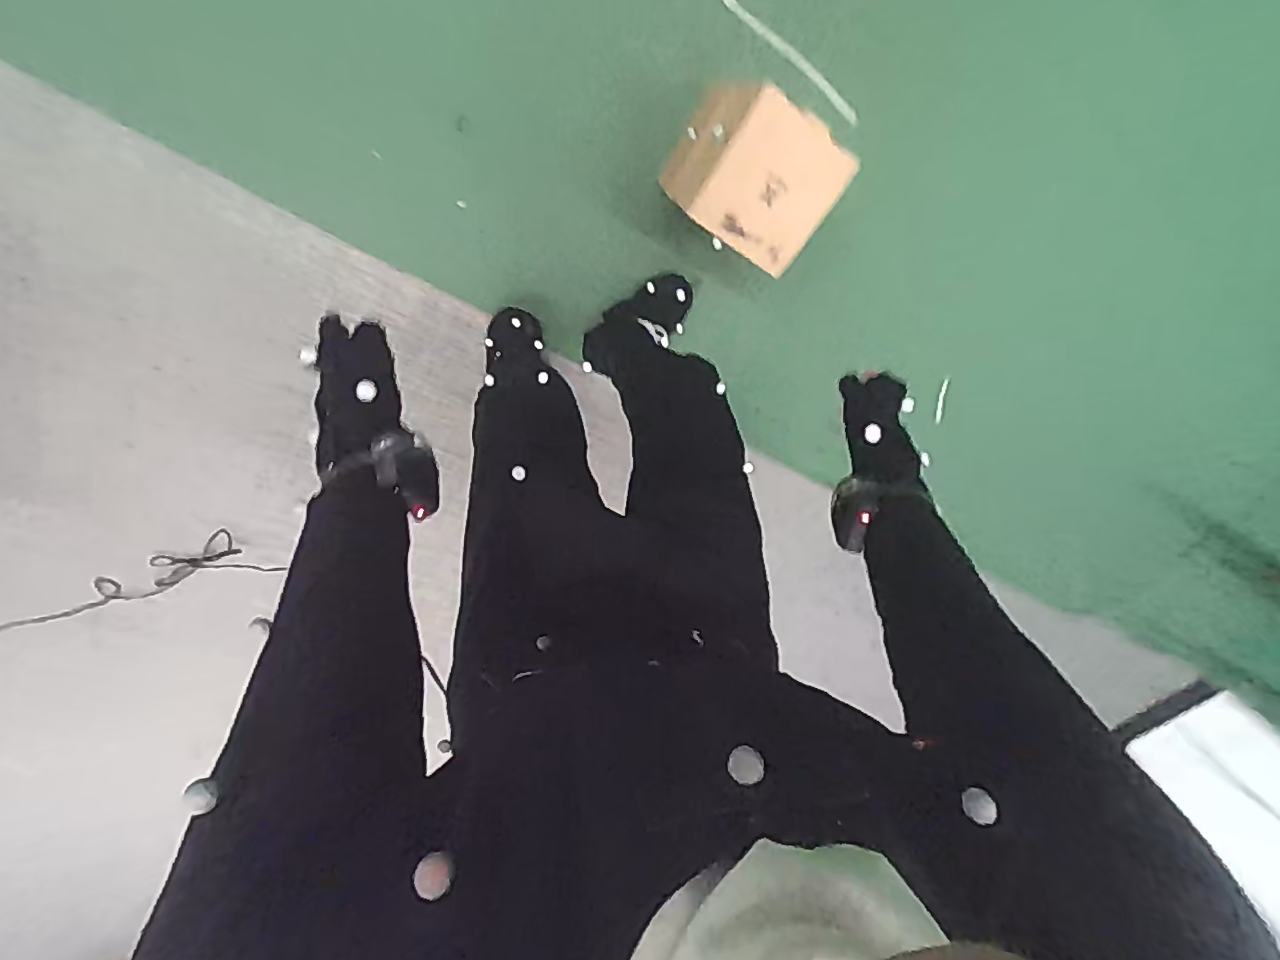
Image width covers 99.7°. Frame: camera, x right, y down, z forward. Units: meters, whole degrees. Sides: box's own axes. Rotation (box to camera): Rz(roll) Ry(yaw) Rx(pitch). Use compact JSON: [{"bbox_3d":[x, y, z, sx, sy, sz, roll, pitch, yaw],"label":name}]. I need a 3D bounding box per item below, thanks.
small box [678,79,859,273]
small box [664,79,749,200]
[{"bbox_3d":[0.171,-0.441,0.787,0.168,0.176,0.179,26,119,-22],"label":"small box"},{"bbox_3d":[0.153,-0.527,0.903,0.168,0.176,0.179,27,119,-22],"label":"small box"}]
